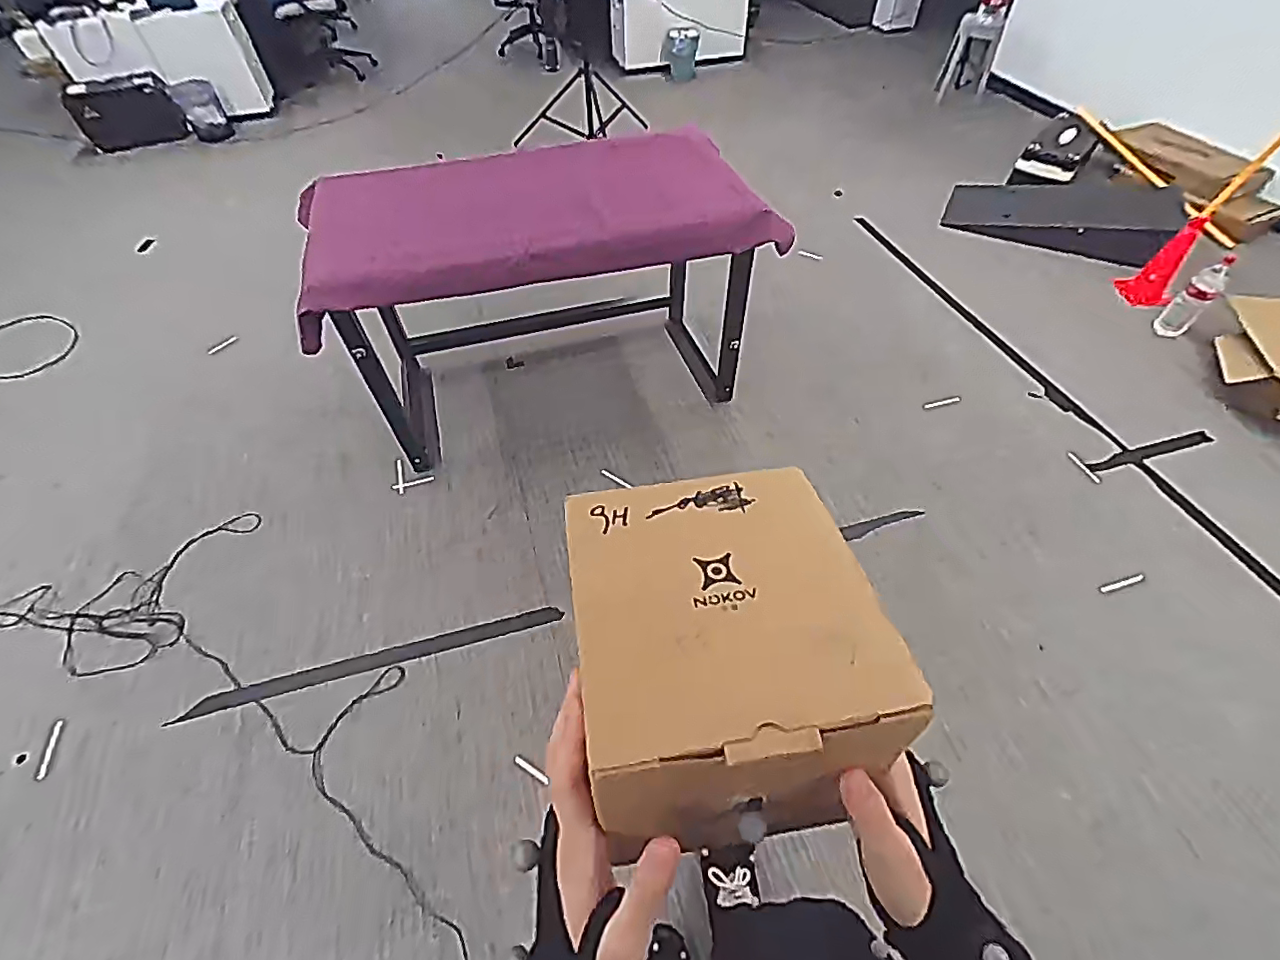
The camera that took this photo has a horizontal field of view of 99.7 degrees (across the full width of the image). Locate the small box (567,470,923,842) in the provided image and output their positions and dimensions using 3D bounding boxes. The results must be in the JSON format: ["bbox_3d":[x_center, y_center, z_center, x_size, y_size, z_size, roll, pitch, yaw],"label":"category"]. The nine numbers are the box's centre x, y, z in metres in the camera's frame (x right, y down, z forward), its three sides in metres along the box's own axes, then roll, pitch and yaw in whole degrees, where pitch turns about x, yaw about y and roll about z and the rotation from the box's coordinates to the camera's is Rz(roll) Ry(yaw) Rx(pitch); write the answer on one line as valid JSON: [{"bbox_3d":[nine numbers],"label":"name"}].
[{"bbox_3d":[0.046,0.120,0.364,0.168,0.176,0.179,-7,44,-6],"label":"small box"}]
